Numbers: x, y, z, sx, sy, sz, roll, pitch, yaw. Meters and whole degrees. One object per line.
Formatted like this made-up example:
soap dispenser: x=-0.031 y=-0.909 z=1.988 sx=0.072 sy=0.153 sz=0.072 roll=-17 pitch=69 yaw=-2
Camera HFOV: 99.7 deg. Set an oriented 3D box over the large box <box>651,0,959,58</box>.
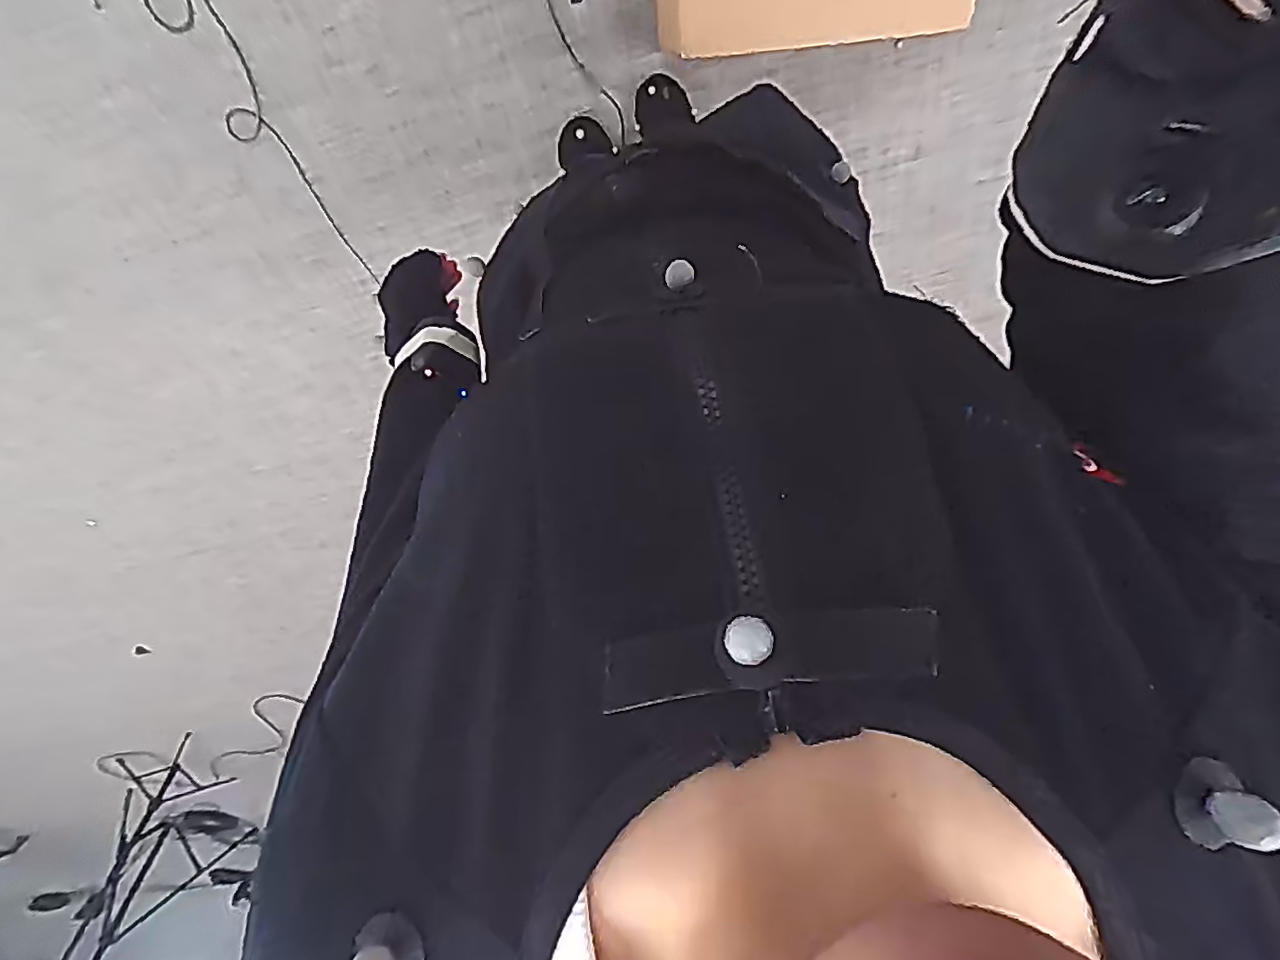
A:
large box: x=0.222 y=-0.826 z=0.771 sx=0.408 sy=0.320 sz=0.320 roll=-6 pitch=130 yaw=0
